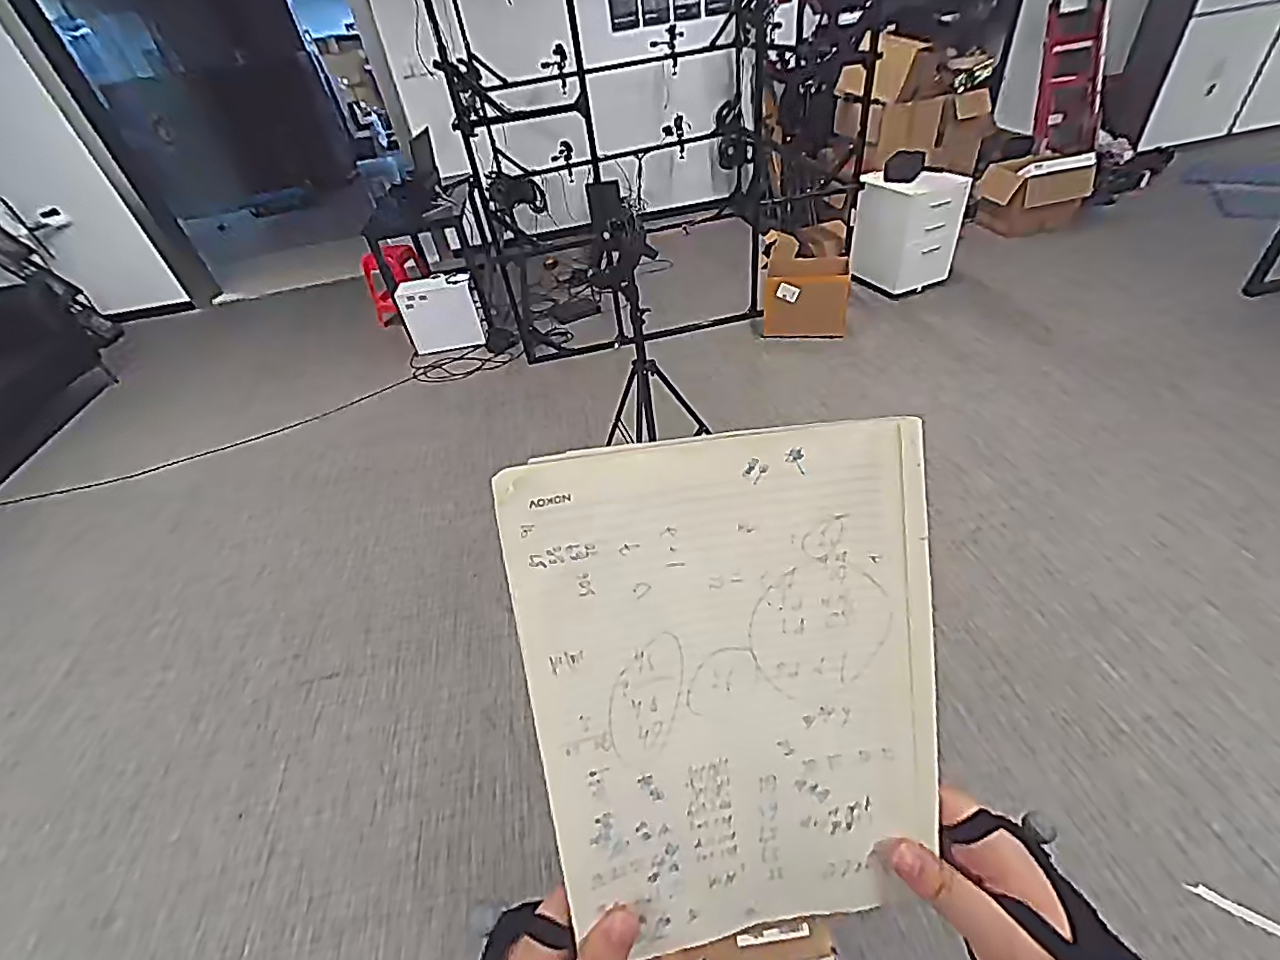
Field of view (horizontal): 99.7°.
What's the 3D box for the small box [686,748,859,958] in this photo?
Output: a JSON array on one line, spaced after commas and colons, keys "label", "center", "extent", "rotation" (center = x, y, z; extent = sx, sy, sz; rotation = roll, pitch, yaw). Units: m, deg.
[{"label": "small box", "center": [0.147, 0.465, 0.677], "extent": [0.168, 0.176, 0.179], "rotation": [-6, 42, 0]}]
